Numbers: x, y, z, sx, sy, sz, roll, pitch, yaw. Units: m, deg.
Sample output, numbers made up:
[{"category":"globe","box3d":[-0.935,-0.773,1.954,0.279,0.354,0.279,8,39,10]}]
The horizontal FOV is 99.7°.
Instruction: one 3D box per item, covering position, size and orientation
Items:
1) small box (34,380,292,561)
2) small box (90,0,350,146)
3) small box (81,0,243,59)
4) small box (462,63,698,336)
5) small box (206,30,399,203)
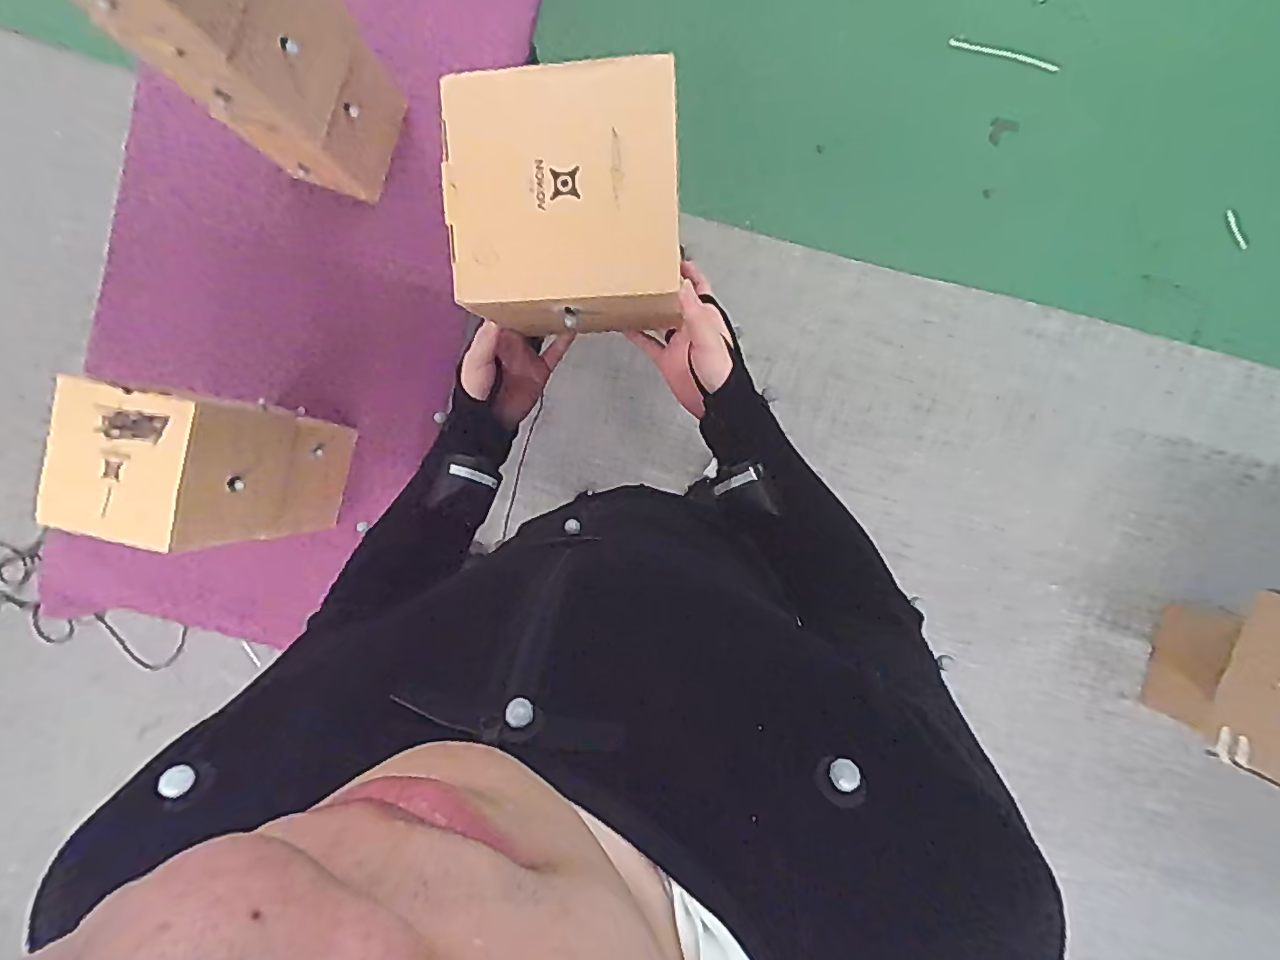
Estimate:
[{"category":"small box","box3d":[-0.578,-0.013,0.680,0.168,0.176,0.179,12,92,1]},{"category":"small box","box3d":[-0.492,-0.554,0.660,0.168,0.176,0.179,19,94,0]},{"category":"small box","box3d":[-0.492,-0.551,0.495,0.168,0.176,0.179,19,94,2]},{"category":"small box","box3d":[-0.038,-0.224,0.479,0.179,0.176,0.168,-1,97,4]},{"category":"small box","box3d":[-0.497,-0.564,0.824,0.168,0.176,0.179,19,94,1]}]
